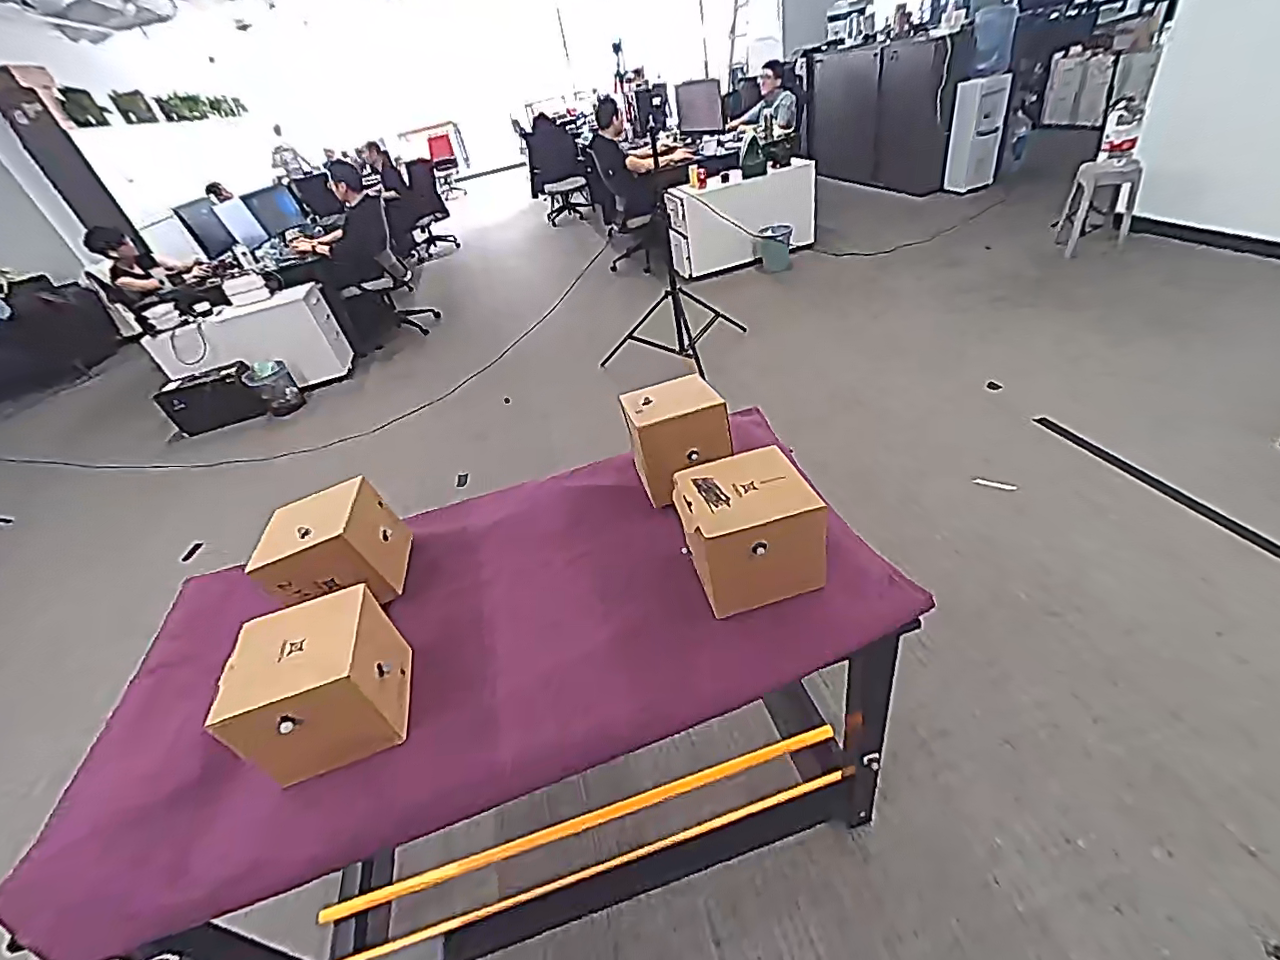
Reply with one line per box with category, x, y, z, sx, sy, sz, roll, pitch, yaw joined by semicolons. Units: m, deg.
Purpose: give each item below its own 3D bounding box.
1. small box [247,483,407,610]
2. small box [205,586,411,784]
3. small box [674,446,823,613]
small box;-0.538;0.131;0.964;0.179;0.168;0.176;-22;36;1
small box;-0.441;0.286;0.758;0.179;0.176;0.168;-19;37;-7
small box;0.166;0.078;0.833;0.179;0.176;0.168;-16;36;-4
